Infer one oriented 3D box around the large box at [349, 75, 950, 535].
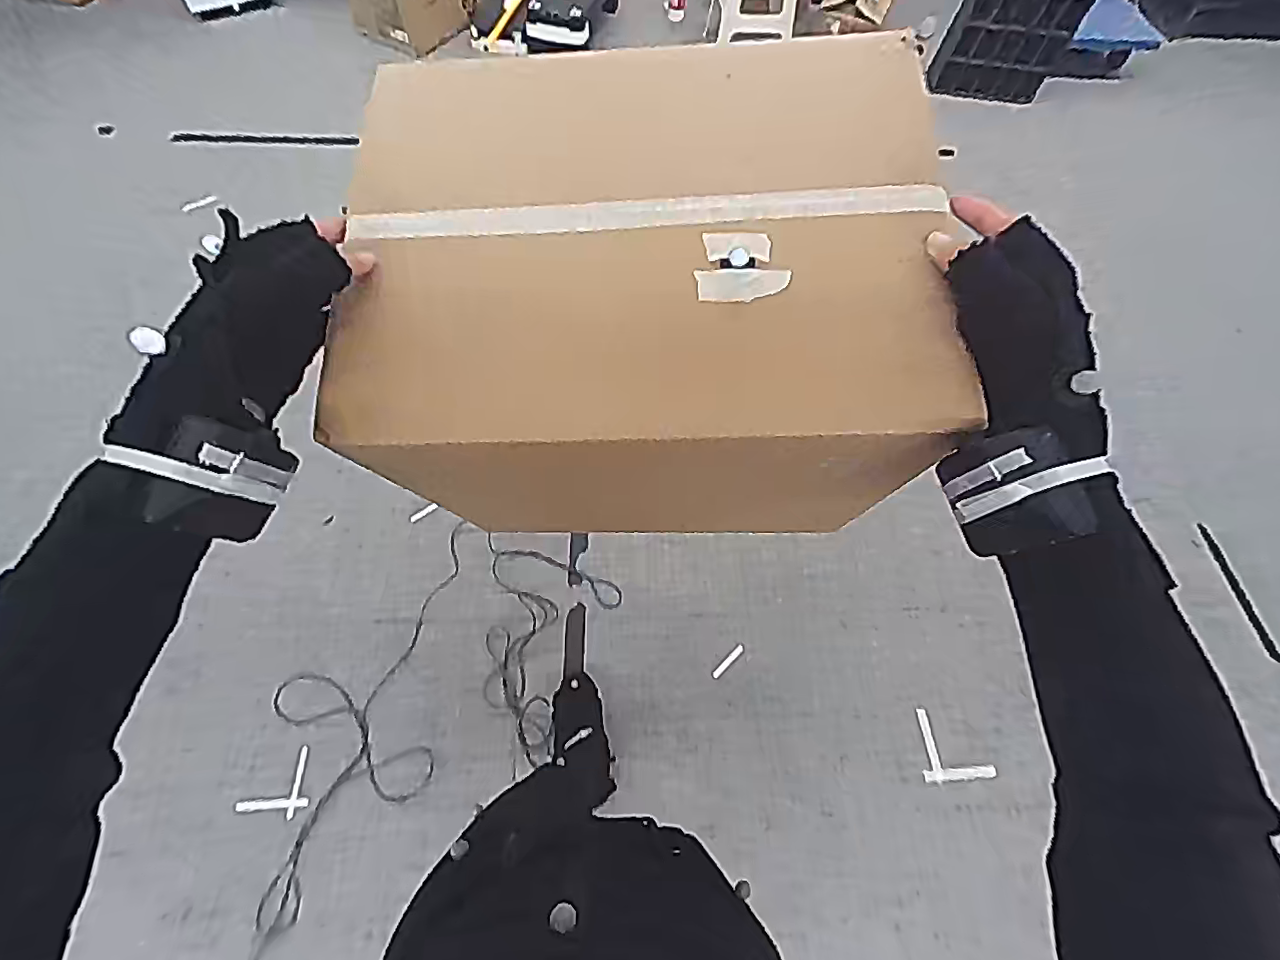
[{"bbox_3d":[0.006,-0.128,0.537,0.408,0.320,0.320,-1,74,3],"label":"large box"}]
